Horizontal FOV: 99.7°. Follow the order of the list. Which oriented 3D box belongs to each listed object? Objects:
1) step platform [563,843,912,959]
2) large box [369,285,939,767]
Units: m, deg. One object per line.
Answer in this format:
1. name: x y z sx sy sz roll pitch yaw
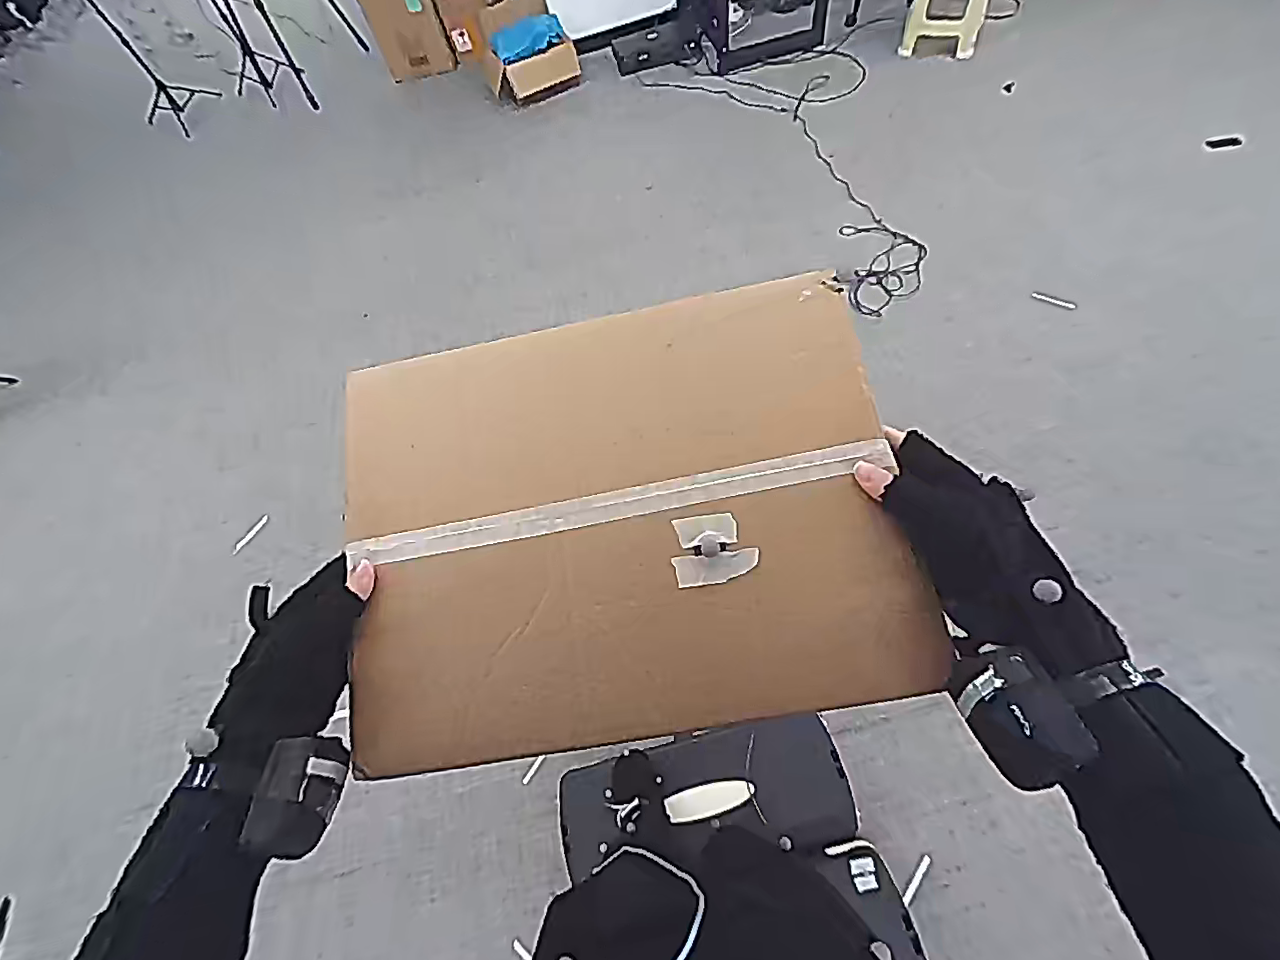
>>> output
1. step platform: 0.190 0.983 1.088 0.684 0.204 0.286 -17 59 2
2. large box: -0.002 0.063 0.556 0.408 0.320 0.320 -11 74 4
